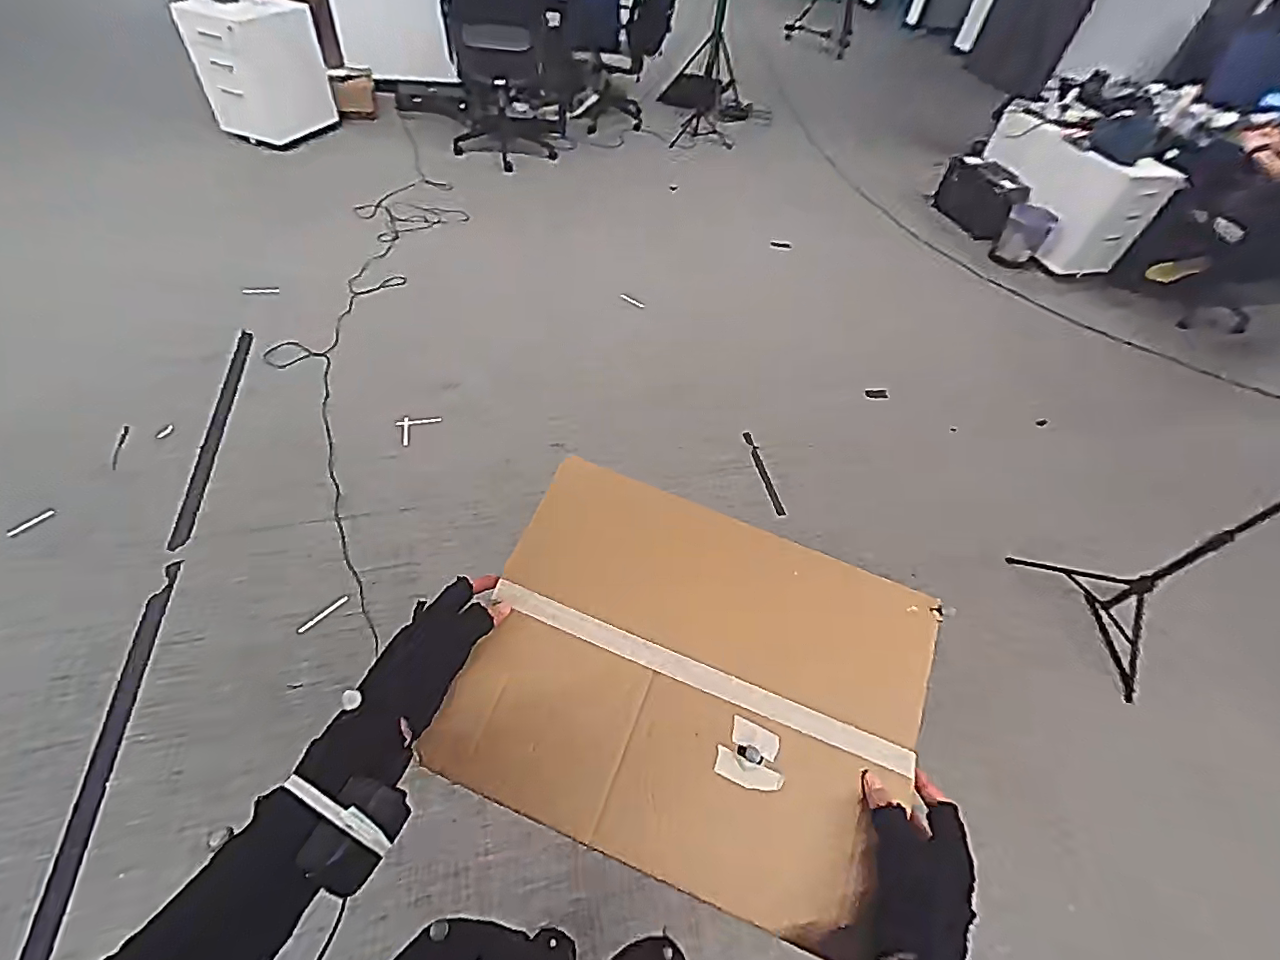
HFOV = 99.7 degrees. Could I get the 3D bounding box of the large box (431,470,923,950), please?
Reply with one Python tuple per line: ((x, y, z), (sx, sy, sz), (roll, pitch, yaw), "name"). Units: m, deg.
((0.041, 0.243, 0.647), (0.408, 0.320, 0.320), (22, 67, 6), "large box")
